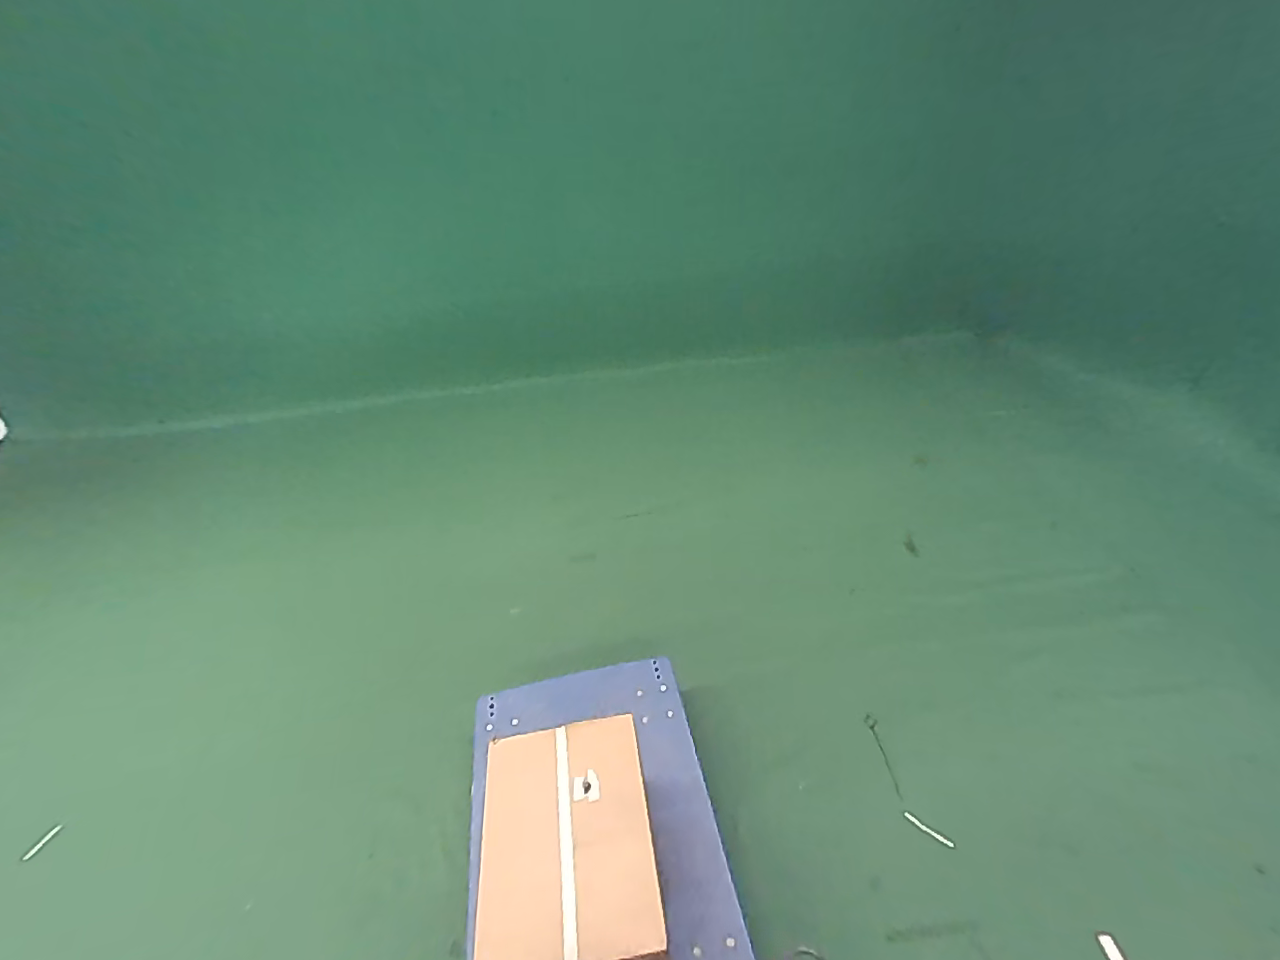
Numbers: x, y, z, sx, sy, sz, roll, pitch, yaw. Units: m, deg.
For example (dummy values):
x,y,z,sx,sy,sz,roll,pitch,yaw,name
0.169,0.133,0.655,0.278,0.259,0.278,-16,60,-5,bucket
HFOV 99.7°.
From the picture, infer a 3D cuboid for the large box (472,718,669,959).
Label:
x,y,z,sx,sy,sz,roll,pitch,yaw,name
-0.131,0.775,1.093,0.320,0.320,0.408,-8,37,-5,large box
